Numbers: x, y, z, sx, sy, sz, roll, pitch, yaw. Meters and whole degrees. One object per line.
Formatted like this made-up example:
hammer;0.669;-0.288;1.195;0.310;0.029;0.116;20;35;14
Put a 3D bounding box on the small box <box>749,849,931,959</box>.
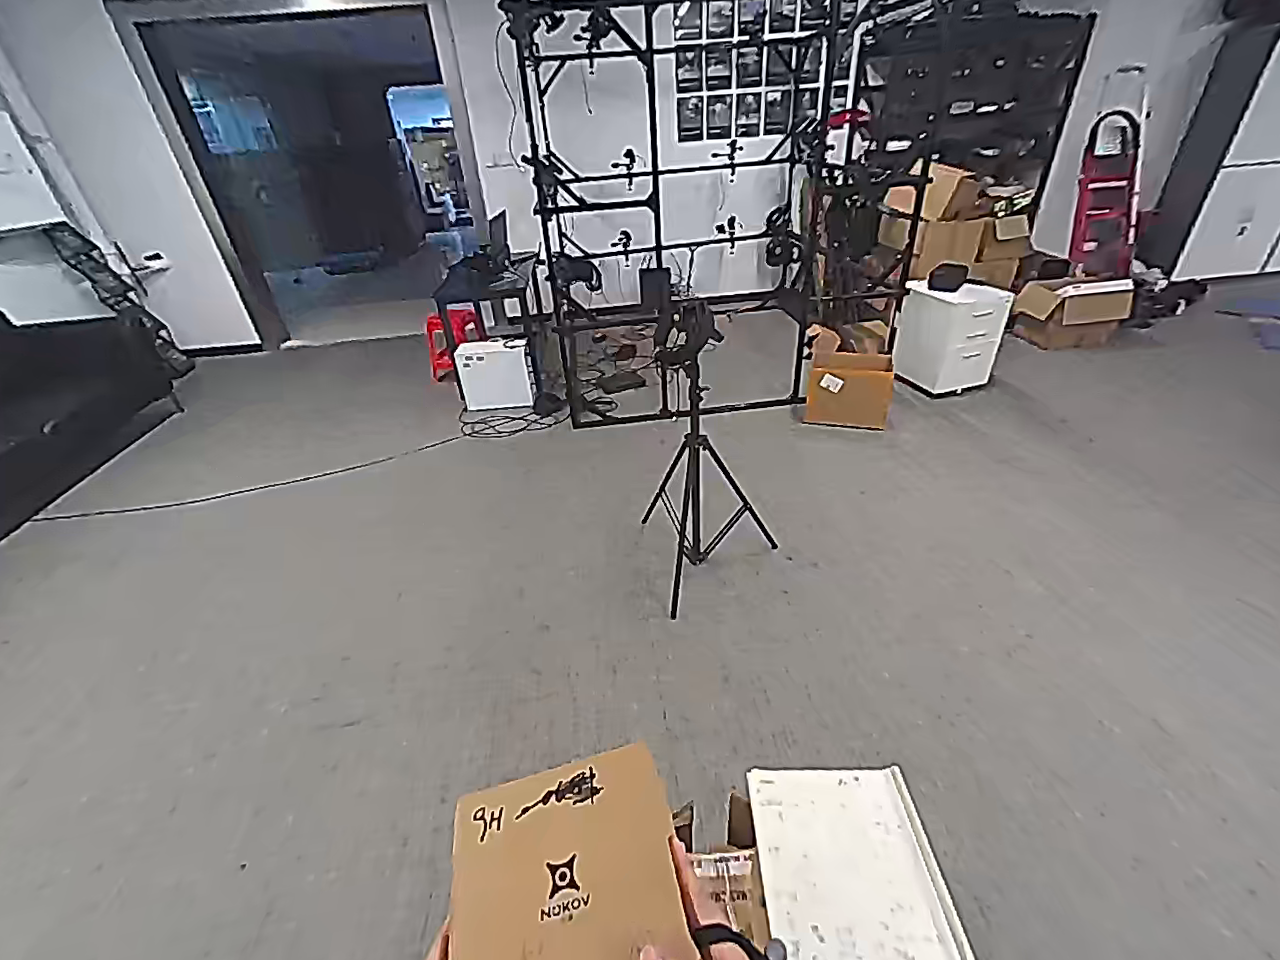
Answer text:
small box;0.227;0.565;0.631;0.168;0.176;0.179;-1;35;1
